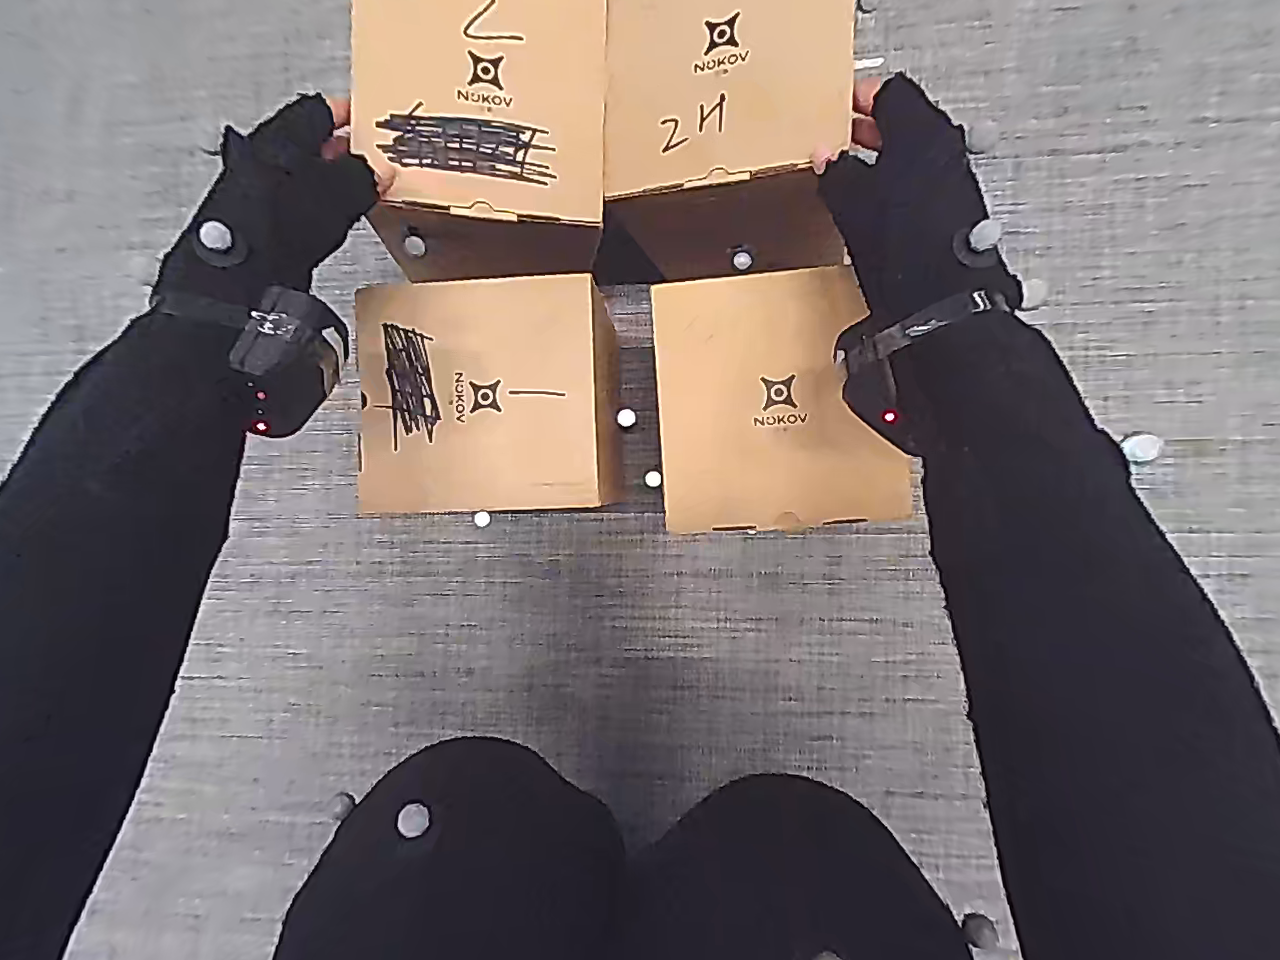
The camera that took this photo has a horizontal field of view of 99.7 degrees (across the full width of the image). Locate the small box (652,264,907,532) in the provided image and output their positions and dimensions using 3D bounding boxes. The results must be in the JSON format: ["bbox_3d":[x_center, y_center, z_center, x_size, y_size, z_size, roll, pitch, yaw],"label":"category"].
[{"bbox_3d":[0.099,-0.054,0.450,0.168,0.176,0.179,-5,90,4],"label":"small box"}]
